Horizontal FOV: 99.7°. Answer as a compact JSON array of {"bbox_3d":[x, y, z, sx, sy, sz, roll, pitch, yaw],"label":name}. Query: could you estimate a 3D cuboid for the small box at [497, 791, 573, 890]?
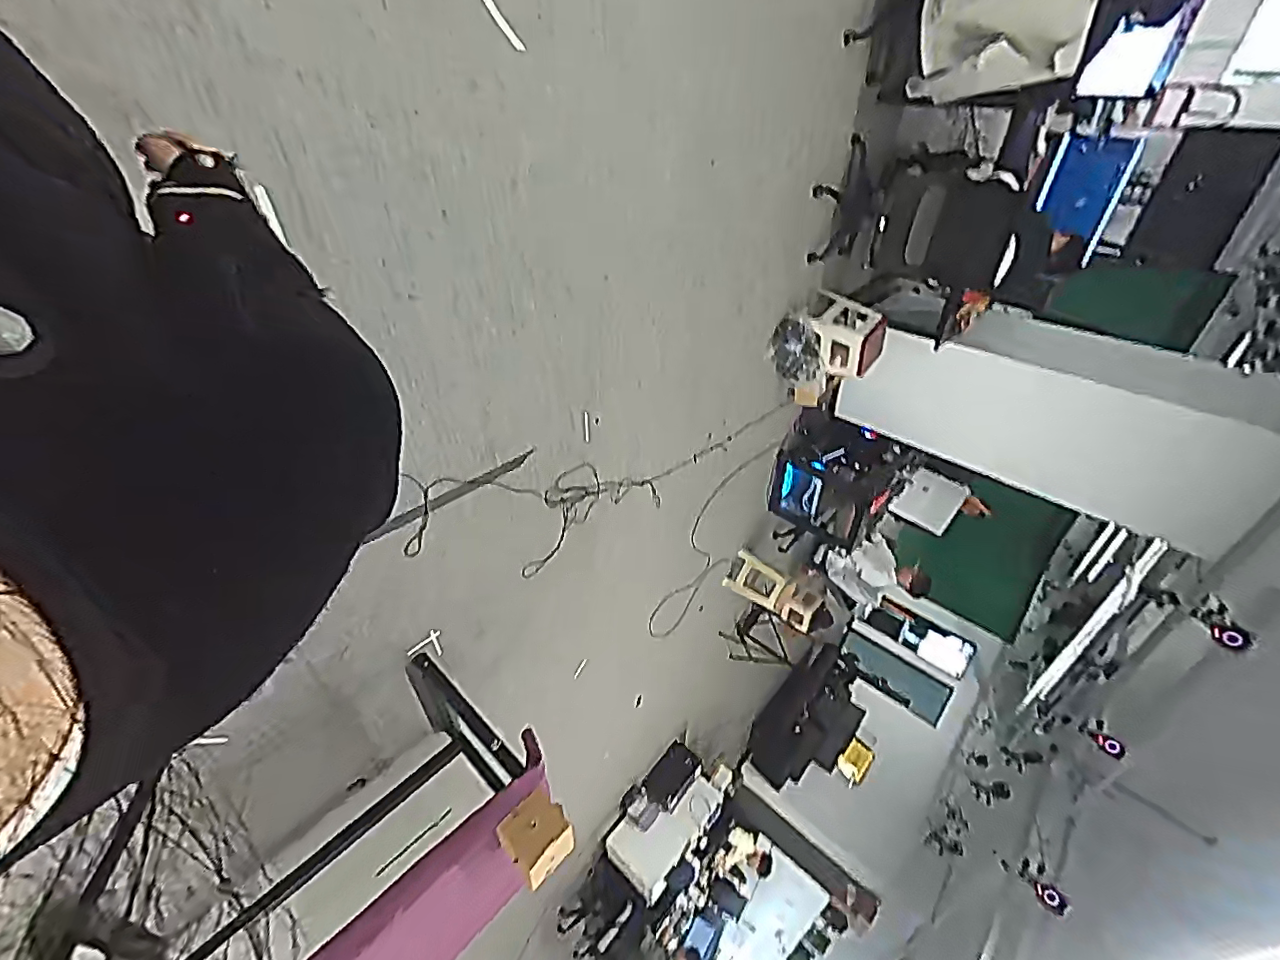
[{"bbox_3d":[-0.332,1.128,1.705,0.168,0.176,0.179,-31,137,-37],"label":"small box"}]
